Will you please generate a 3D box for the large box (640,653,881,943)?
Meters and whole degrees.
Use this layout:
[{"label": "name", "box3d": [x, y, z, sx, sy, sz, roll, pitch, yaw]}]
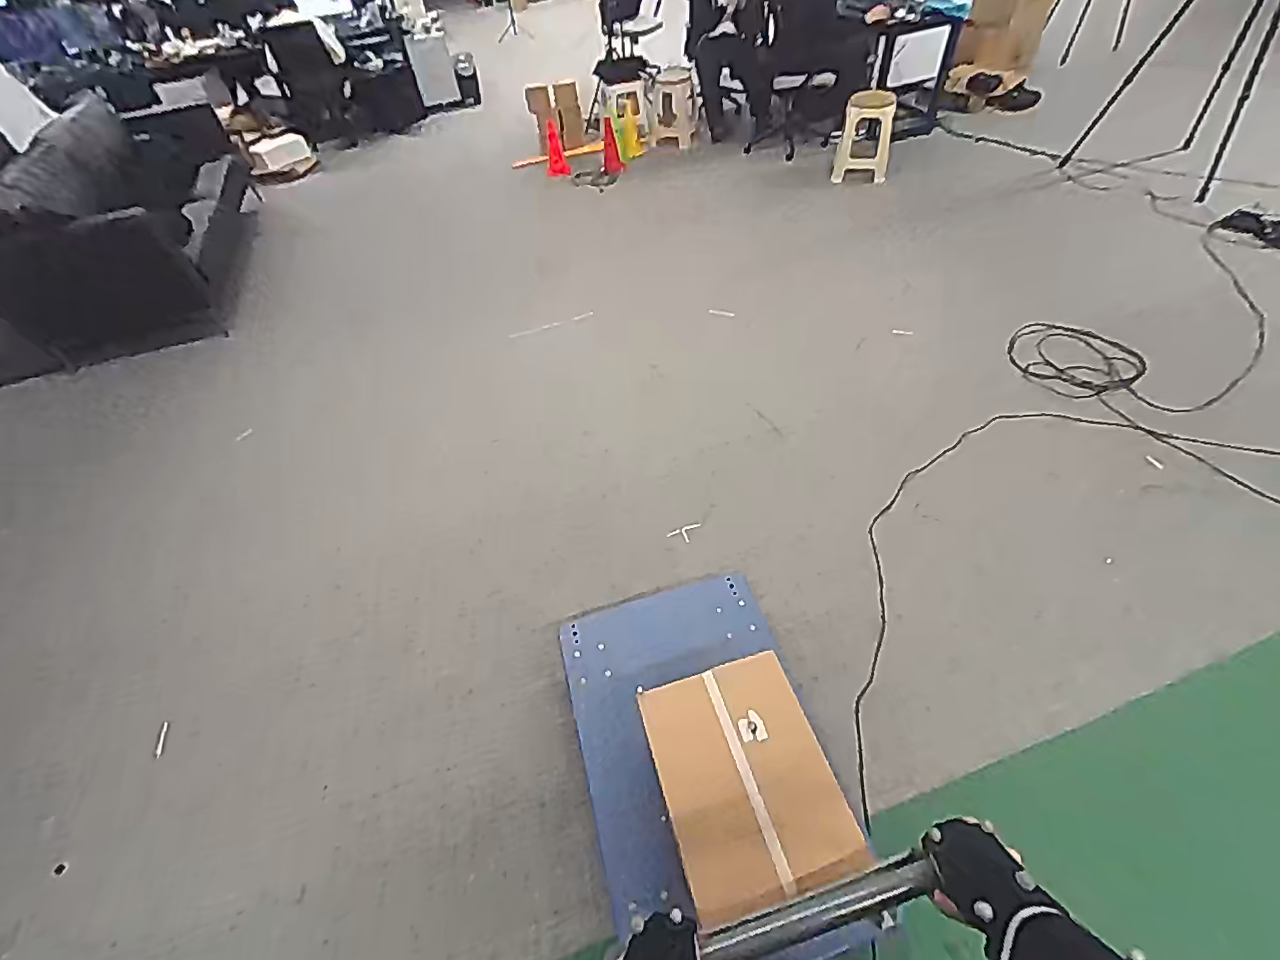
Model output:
[{"label": "large box", "box3d": [0.216, 0.646, 1.115, 0.320, 0.320, 0.408, -15, 48, -8]}]
